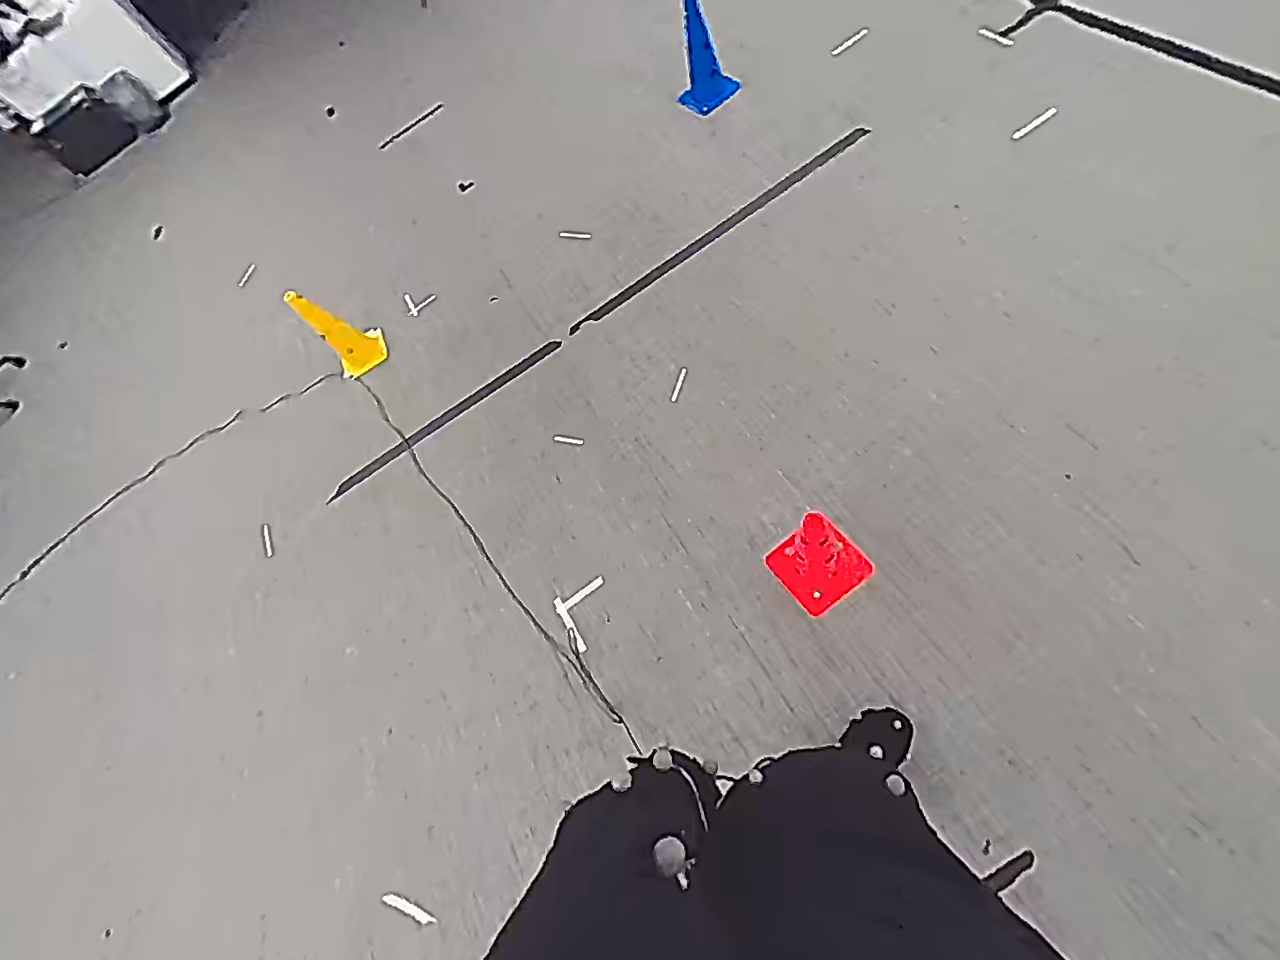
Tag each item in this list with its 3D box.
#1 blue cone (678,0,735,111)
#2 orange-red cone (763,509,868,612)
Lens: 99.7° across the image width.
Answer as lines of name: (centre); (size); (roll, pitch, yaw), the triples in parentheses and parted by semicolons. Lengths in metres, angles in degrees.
blue cone: (0.214, -1.629, 2.027); (0.193, 0.380, 0.192); (-39, 61, 0)
orange-red cone: (0.387, 0.138, 1.203); (0.199, 0.360, 0.198); (-38, 62, -1)
